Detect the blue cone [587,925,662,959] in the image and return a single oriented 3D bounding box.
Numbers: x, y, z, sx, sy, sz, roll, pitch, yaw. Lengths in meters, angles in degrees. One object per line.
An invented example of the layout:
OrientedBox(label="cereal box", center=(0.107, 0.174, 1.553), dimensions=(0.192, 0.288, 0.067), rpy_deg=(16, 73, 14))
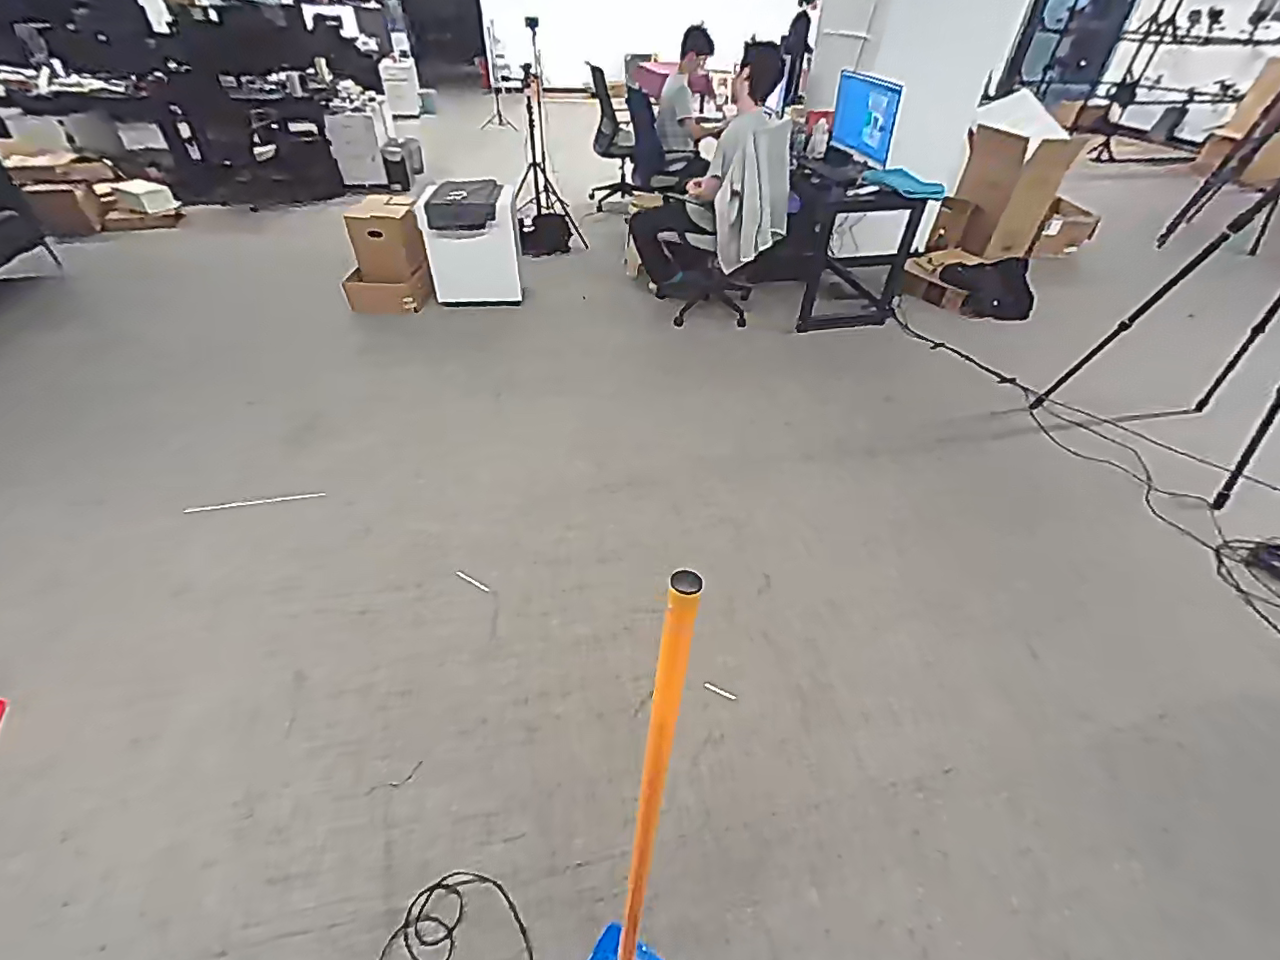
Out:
OrientedBox(label="blue cone", center=(-0.027, 0.903, 0.964), dimensions=(0.192, 0.380, 0.193), rpy_deg=(23, 44, 23))
